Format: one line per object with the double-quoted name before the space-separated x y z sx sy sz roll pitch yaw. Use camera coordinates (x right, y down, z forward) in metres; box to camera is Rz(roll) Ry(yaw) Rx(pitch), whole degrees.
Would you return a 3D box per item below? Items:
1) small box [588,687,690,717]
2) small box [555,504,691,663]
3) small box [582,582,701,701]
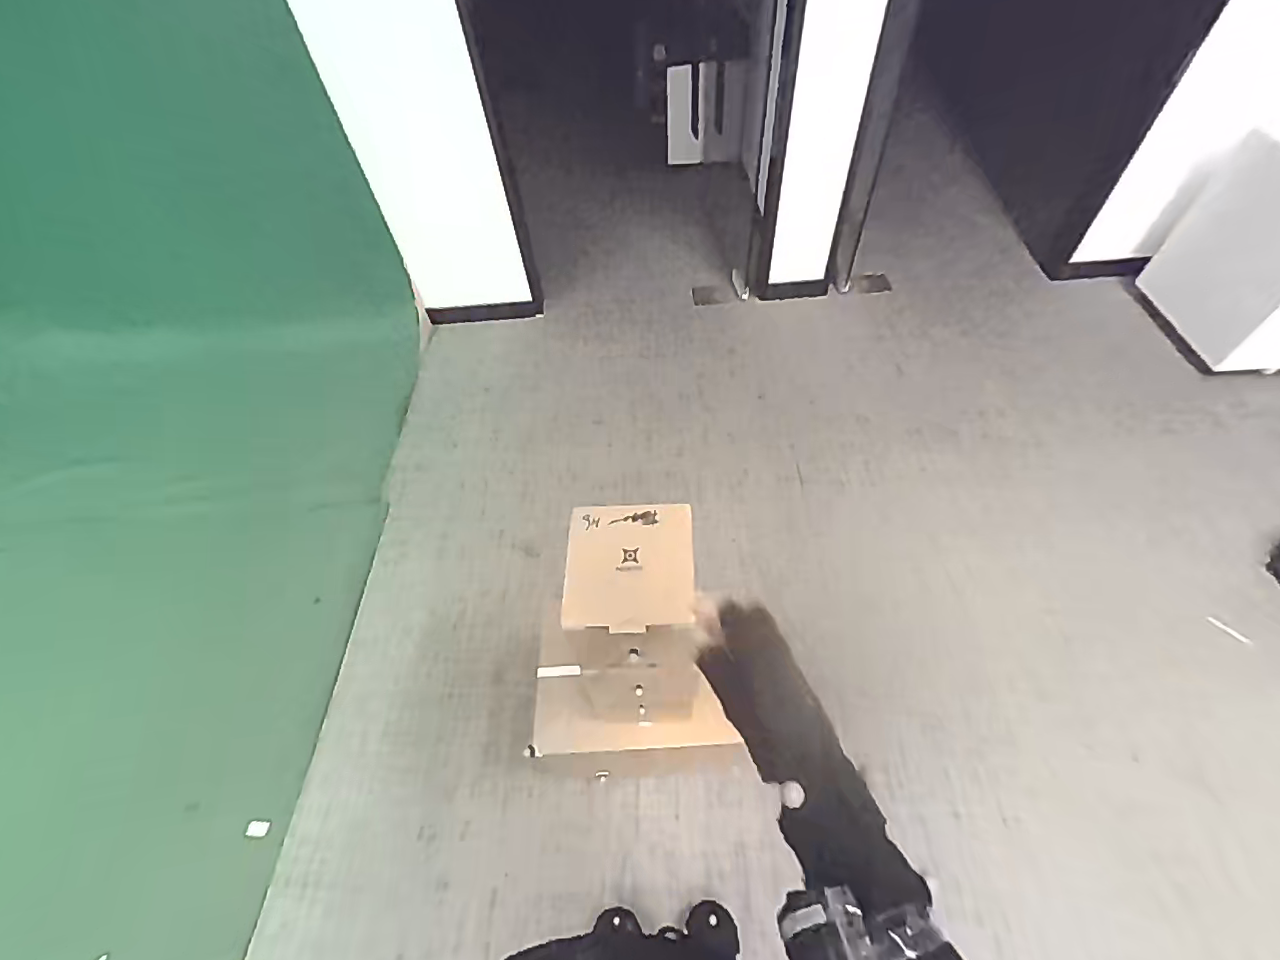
"small box" 0.002 0.344 1.024 0.179 0.176 0.168 -2 55 2
"small box" -0.013 0.151 0.760 0.168 0.176 0.179 -1 55 4
"small box" -0.001 0.254 0.887 0.179 0.176 0.168 -6 55 0
